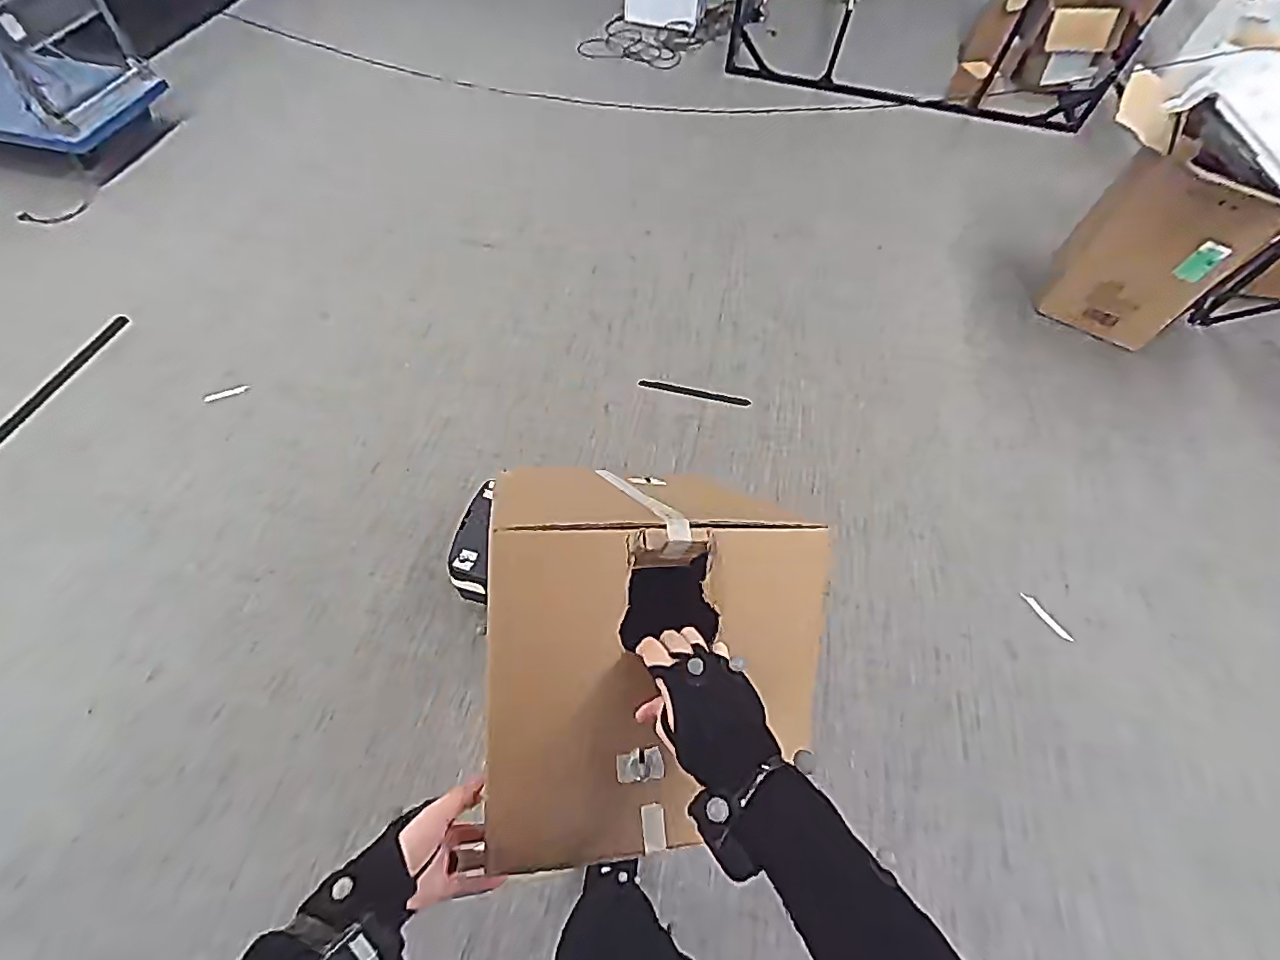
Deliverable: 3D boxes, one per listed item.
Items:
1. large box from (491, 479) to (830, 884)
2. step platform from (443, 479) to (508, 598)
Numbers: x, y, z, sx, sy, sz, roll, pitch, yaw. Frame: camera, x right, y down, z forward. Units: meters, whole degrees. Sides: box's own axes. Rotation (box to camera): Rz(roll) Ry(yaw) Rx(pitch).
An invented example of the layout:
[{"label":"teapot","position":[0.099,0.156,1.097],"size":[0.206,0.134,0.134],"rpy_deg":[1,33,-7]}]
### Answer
[{"label":"large box","position":[-0.020,0.176,0.667],"size":[0.320,0.408,0.320],"rpy_deg":[1,96,-15]},{"label":"step platform","position":[-0.154,0.237,1.421],"size":[0.684,0.204,0.286],"rpy_deg":[18,59,8]}]
